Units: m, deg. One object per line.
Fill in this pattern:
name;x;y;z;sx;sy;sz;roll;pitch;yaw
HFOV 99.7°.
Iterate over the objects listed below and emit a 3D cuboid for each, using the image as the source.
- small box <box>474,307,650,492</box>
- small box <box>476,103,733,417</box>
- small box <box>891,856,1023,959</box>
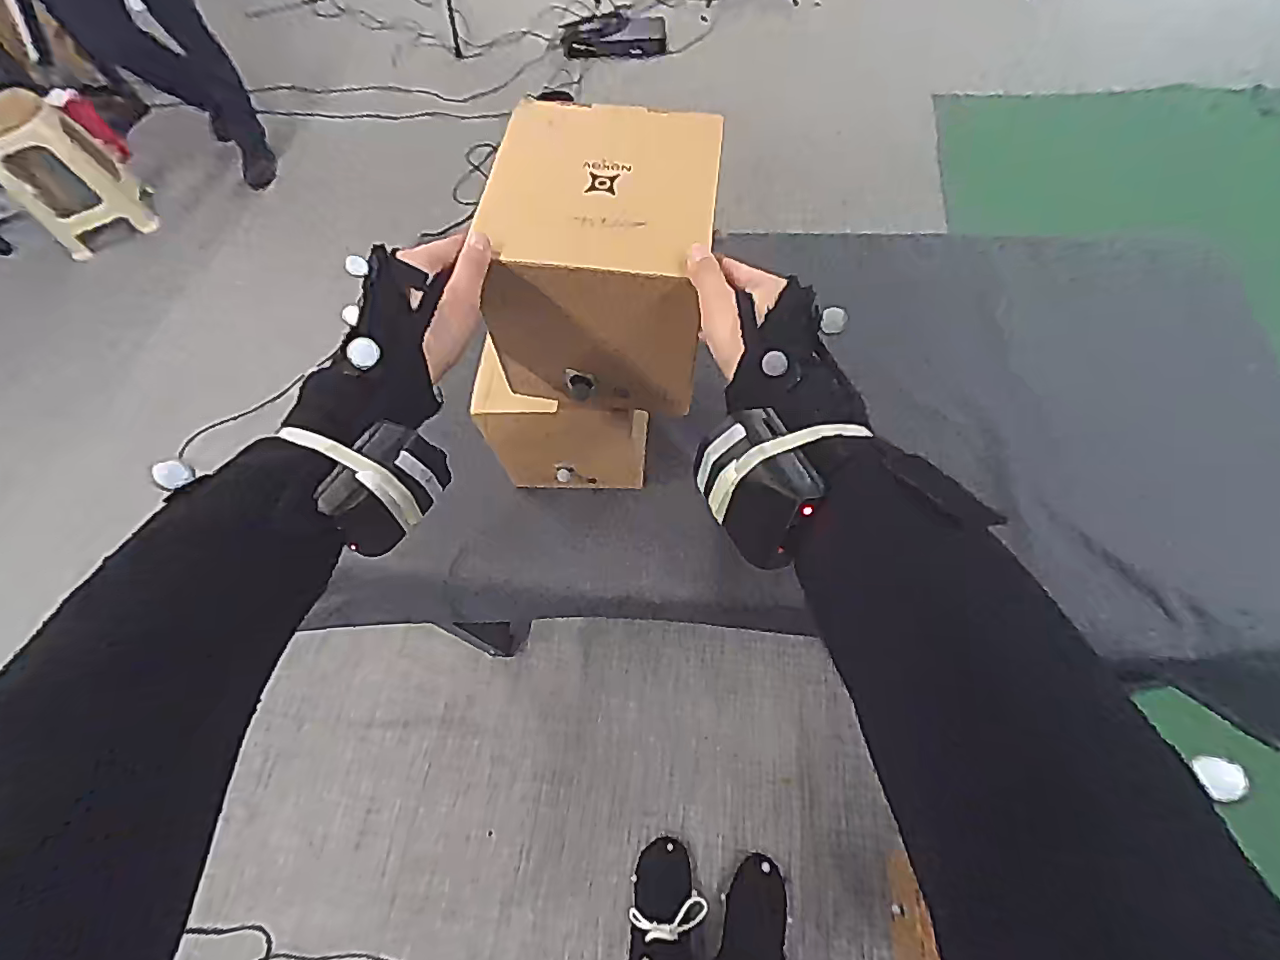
small box;-0.077;-0.103;0.652;0.168;0.176;0.179;0;62;6
small box;-0.020;-0.178;0.462;0.168;0.176;0.179;6;65;3
small box;0.553;0.770;0.942;0.179;0.176;0.168;3;61;8
